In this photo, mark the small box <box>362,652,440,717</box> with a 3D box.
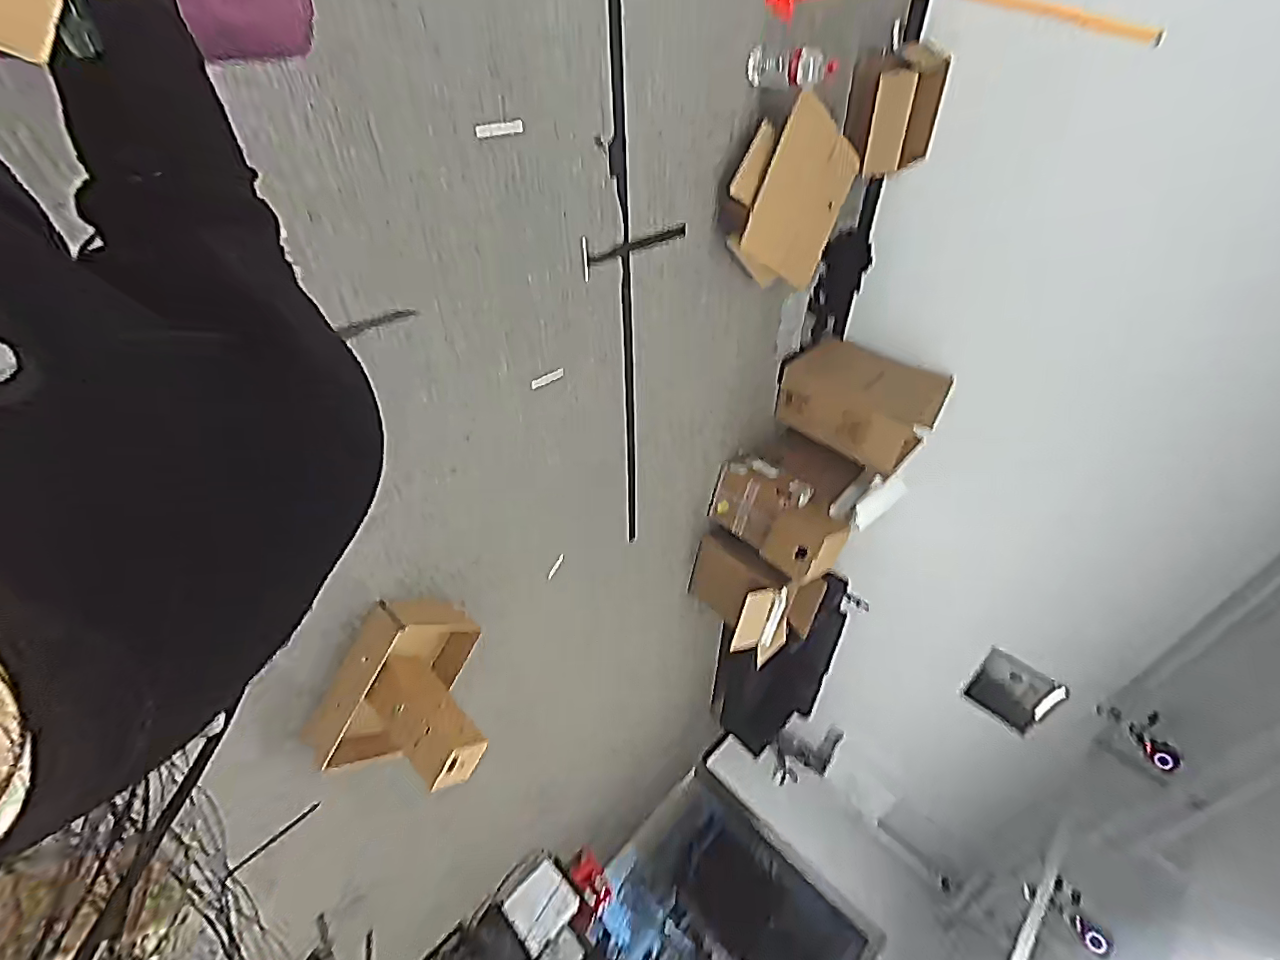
[{"bbox_3d":[-0.913,0.772,2.062,0.168,0.176,0.179,-58,148,1],"label":"small box"}]

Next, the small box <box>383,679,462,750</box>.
[{"bbox_3d":[-0.797,0.848,1.978,0.168,0.176,0.179,-60,148,2],"label":"small box"}]

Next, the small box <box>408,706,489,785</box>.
[{"bbox_3d":[-0.676,0.924,1.897,0.168,0.176,0.179,-60,150,3],"label":"small box"}]
